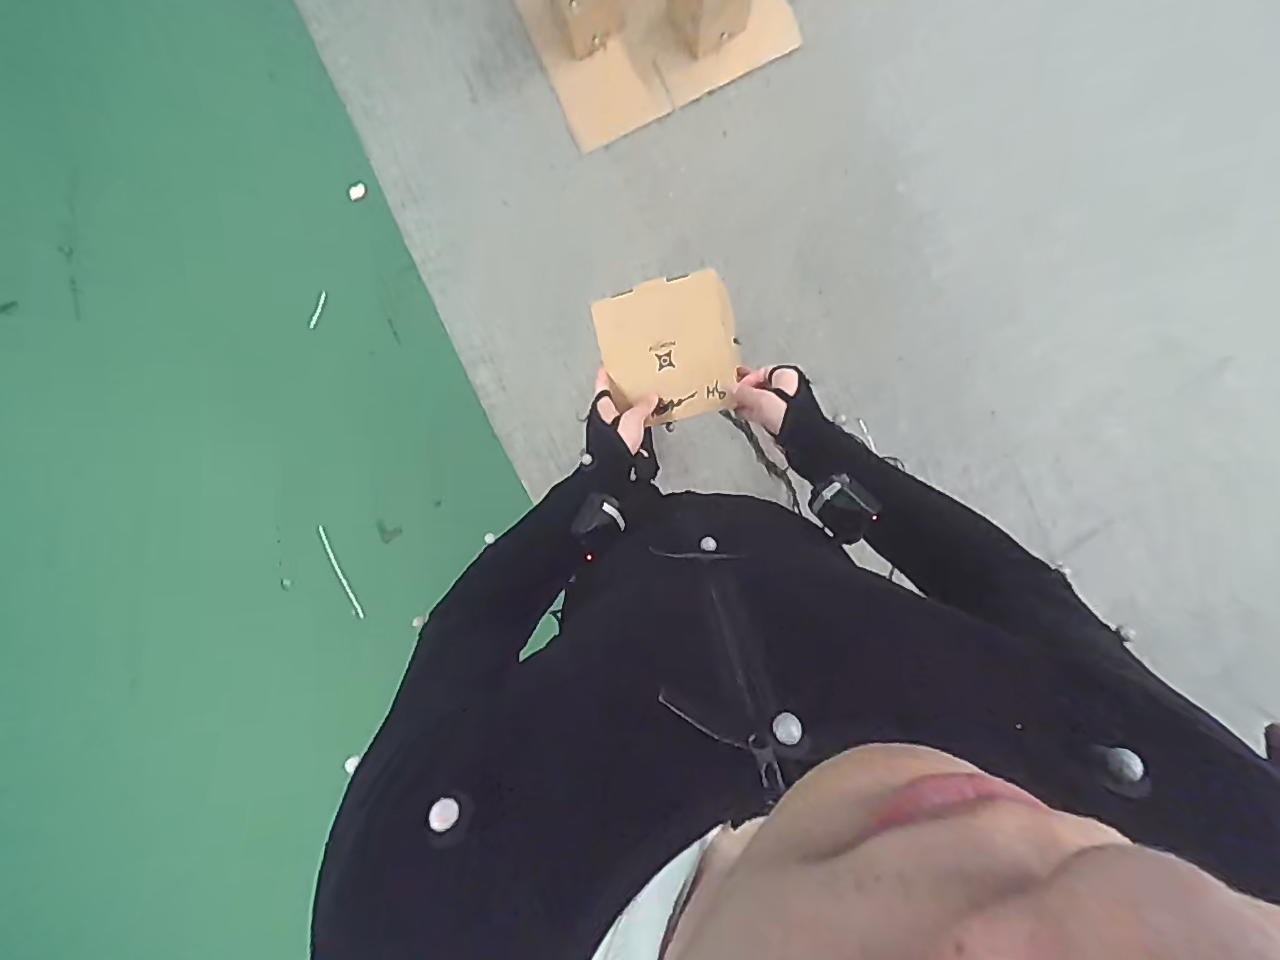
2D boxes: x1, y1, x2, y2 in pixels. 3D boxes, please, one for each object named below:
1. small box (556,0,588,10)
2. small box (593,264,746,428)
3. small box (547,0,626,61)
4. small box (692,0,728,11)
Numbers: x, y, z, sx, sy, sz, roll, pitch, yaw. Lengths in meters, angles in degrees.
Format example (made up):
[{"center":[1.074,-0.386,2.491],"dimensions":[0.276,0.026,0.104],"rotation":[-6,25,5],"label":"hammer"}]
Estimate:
[{"center":[-0.166,-1.298,1.304],"dimensions":[0.168,0.176,0.179],"rotation":[-28,90,5],"label":"small box"},{"center":[0.051,-0.179,0.760],"dimensions":[0.168,0.176,0.179],"rotation":[-10,99,16],"label":"small box"},{"center":[-0.154,-1.306,1.467],"dimensions":[0.168,0.176,0.179],"rotation":[-31,91,5],"label":"small box"},{"center":[0.183,-1.269,1.276],"dimensions":[0.168,0.176,0.179],"rotation":[-30,91,4],"label":"small box"}]
